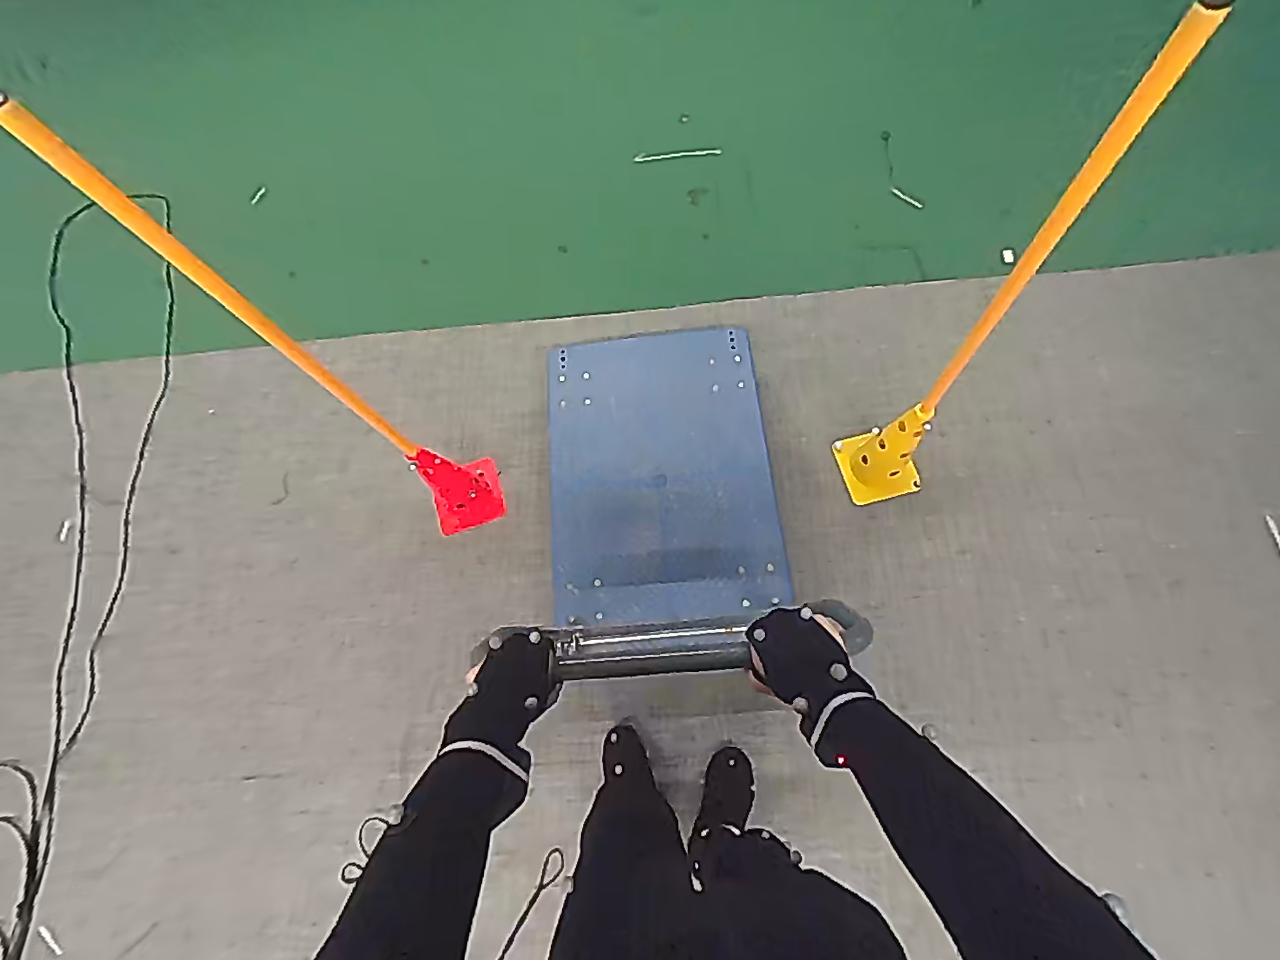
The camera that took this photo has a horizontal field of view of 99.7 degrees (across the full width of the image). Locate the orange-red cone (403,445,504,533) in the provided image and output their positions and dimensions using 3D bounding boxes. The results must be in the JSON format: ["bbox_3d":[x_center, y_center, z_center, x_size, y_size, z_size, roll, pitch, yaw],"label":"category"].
[{"bbox_3d":[-0.528,-0.008,1.441,0.199,0.360,0.198,-19,70,0],"label":"orange-red cone"}]
